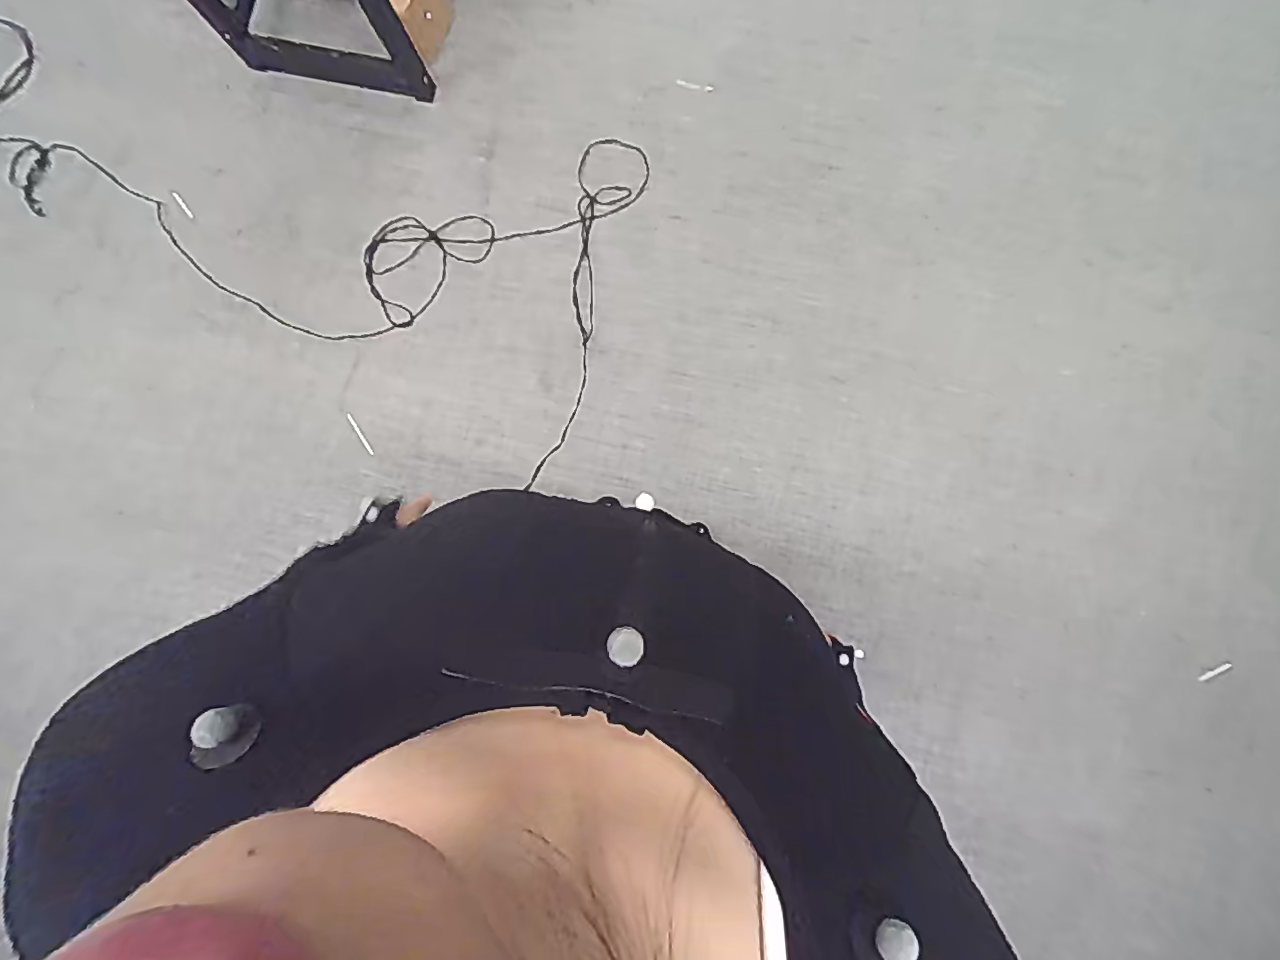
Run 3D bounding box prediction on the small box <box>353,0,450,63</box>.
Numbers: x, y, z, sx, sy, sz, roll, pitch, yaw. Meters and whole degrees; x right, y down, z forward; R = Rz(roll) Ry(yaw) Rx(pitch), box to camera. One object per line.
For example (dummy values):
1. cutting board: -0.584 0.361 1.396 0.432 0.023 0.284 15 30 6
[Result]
1. small box: -0.664 -1.339 1.524 0.168 0.176 0.179 25 89 3
